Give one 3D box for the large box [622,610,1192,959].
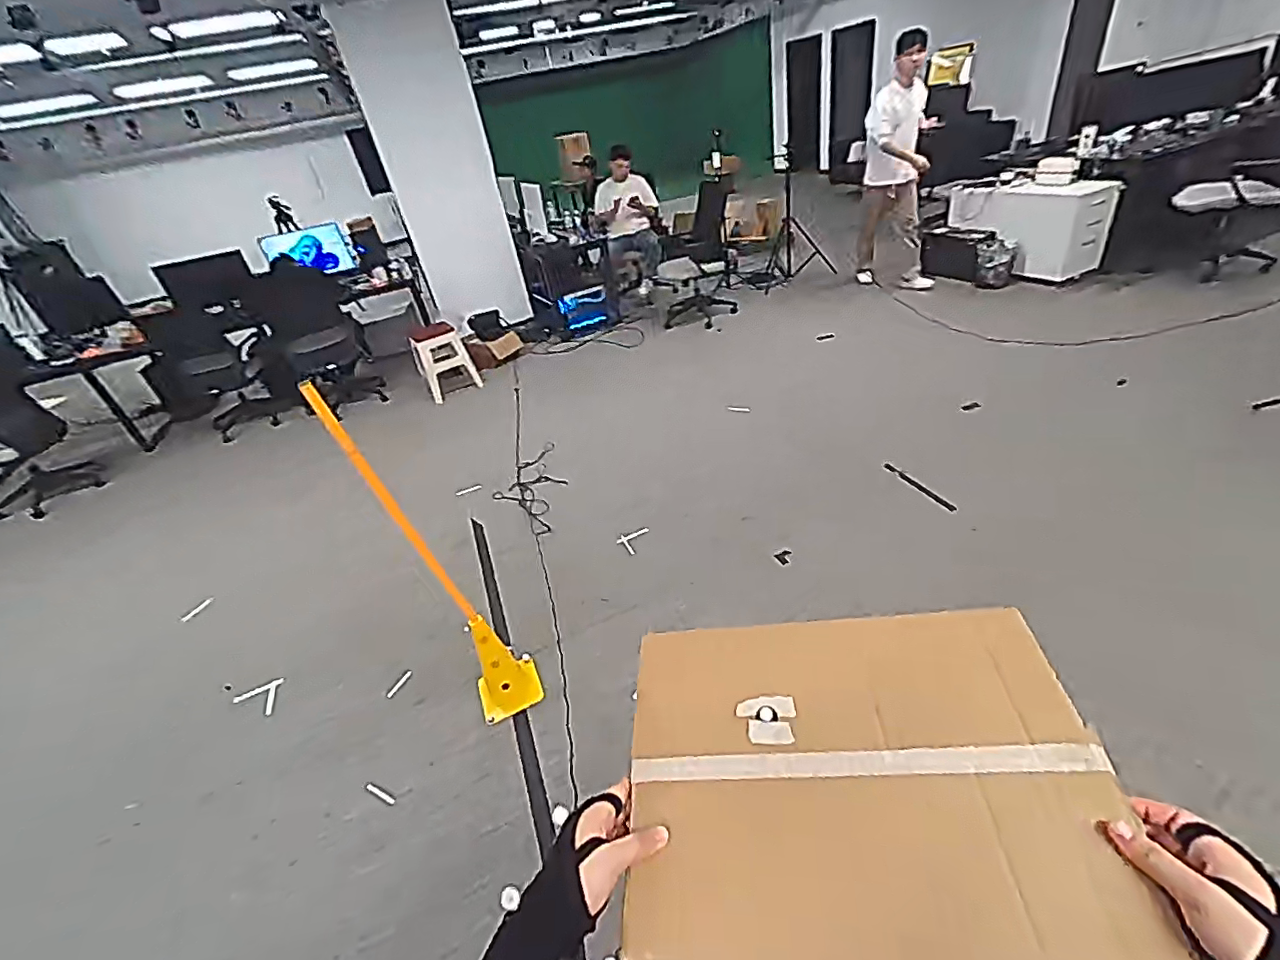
[{"bbox_3d":[0.223,0.379,0.590,0.408,0.320,0.320,-9,38,12],"label":"large box"}]
